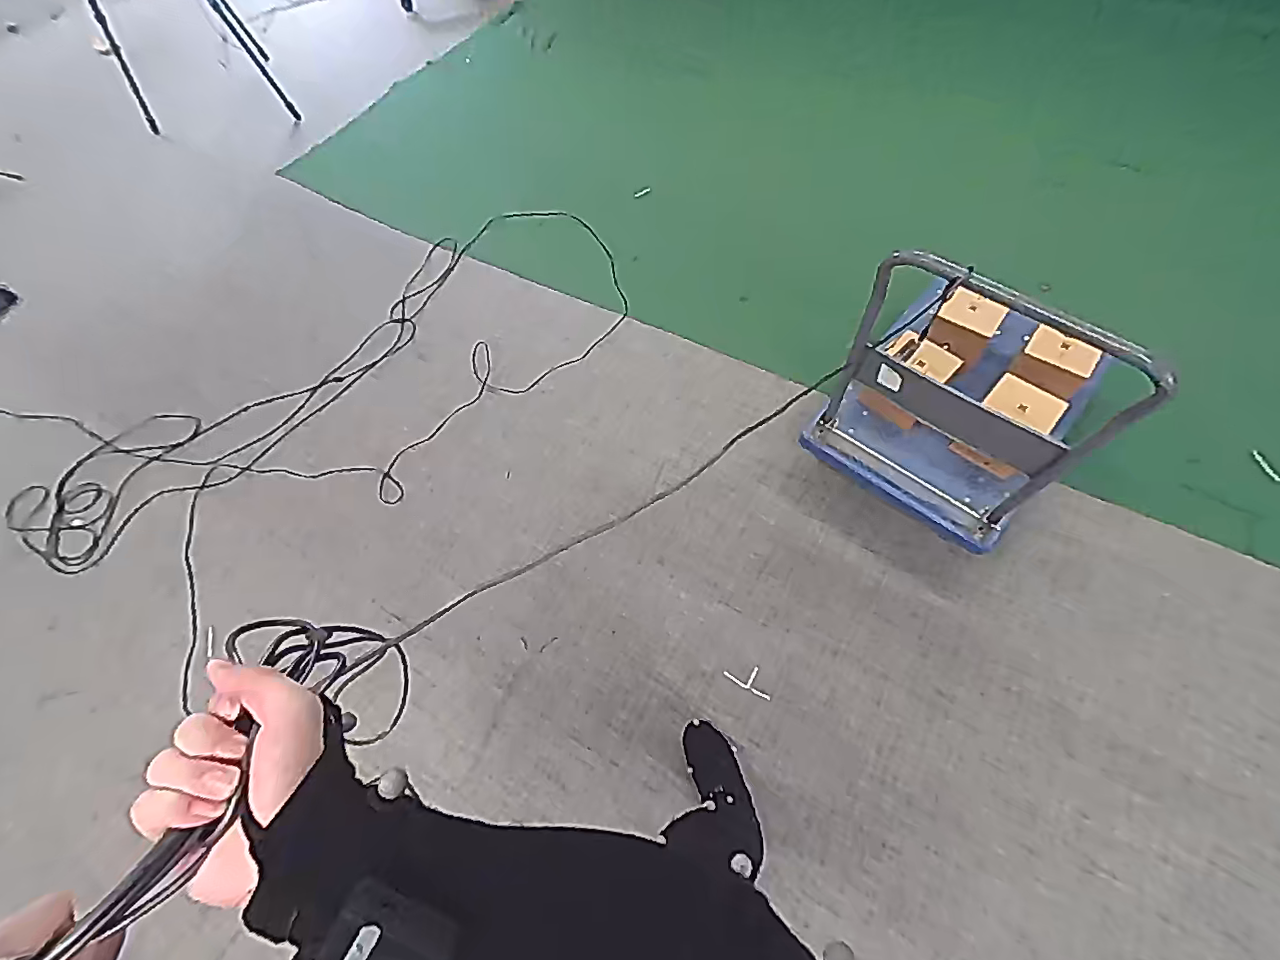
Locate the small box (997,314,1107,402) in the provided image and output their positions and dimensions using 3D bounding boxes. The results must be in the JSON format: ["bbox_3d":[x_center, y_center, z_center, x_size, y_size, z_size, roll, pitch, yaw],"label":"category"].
[{"bbox_3d":[1.155,-0.326,1.529,0.168,0.176,0.179,33,70,21],"label":"small box"}]

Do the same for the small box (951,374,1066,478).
[{"bbox_3d":[0.975,-0.141,1.447,0.168,0.176,0.179,38,71,22],"label":"small box"}]

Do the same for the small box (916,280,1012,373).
[{"bbox_3d":[0.956,-0.454,1.616,0.168,0.176,0.179,34,69,20],"label":"small box"}]
